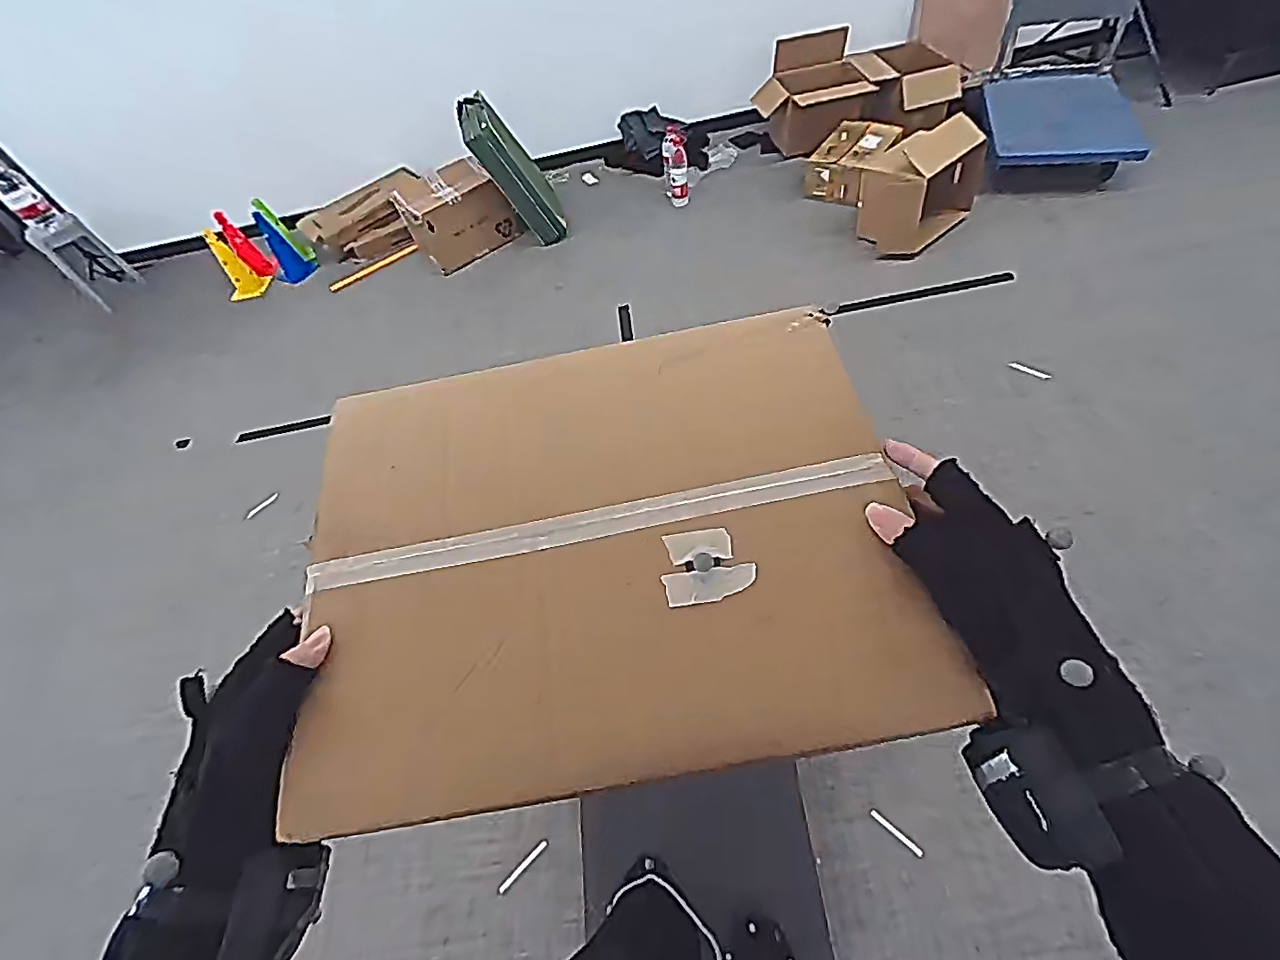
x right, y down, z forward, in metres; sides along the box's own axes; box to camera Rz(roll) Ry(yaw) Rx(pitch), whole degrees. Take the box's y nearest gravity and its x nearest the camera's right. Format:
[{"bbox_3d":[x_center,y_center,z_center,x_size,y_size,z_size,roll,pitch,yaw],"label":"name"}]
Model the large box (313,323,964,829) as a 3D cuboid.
[{"bbox_3d":[-0.012,0.106,0.519,0.408,0.320,0.320,-11,62,1],"label":"large box"}]
